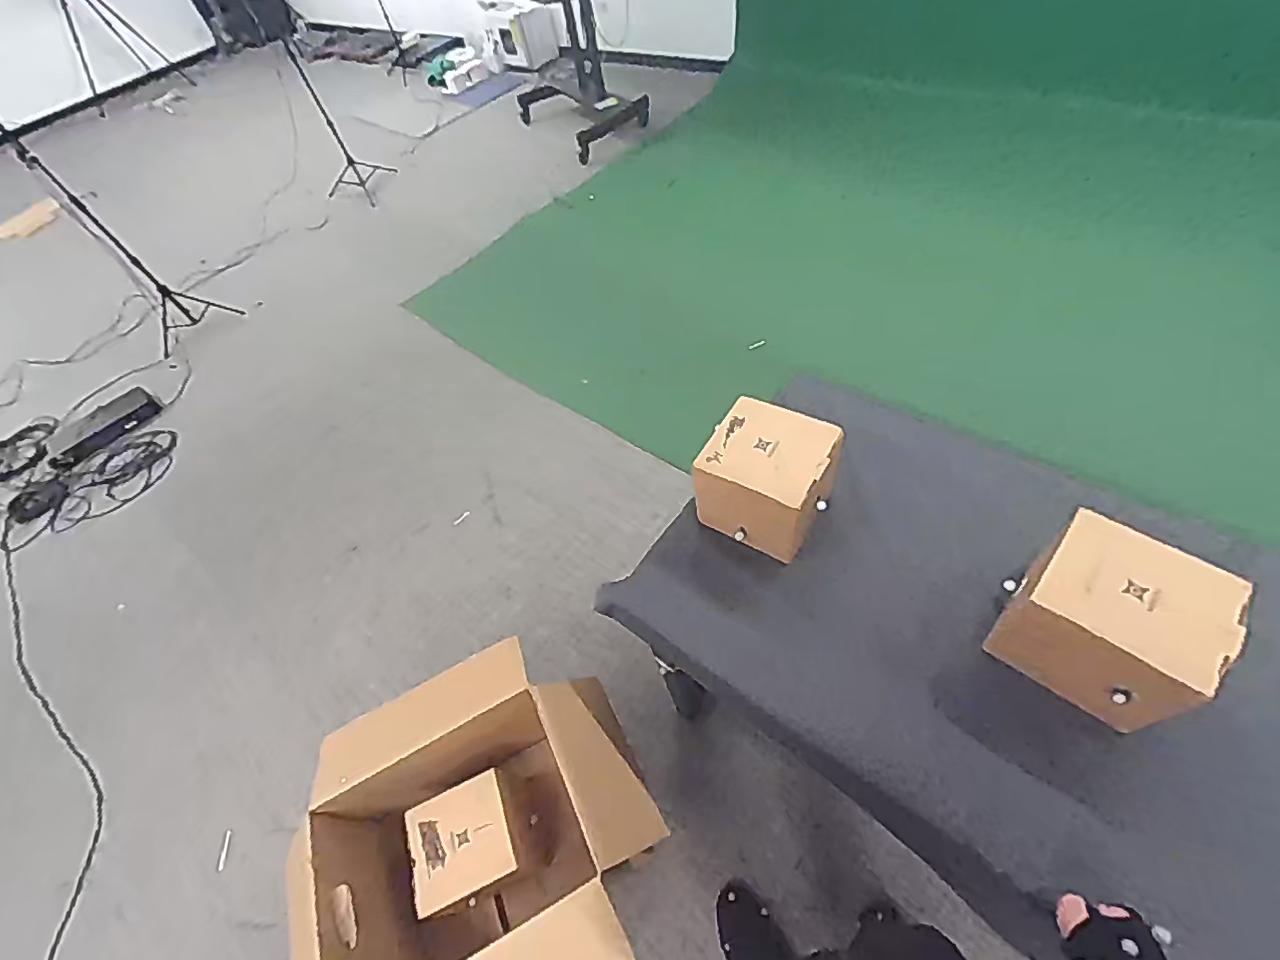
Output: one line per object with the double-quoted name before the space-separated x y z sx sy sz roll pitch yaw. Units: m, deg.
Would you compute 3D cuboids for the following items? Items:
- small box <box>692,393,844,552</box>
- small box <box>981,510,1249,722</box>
"small box" 0.203 -0.006 0.882 0.179 0.176 0.168 26 62 25
"small box" 0.578 0.177 0.681 0.179 0.176 0.168 33 65 30
